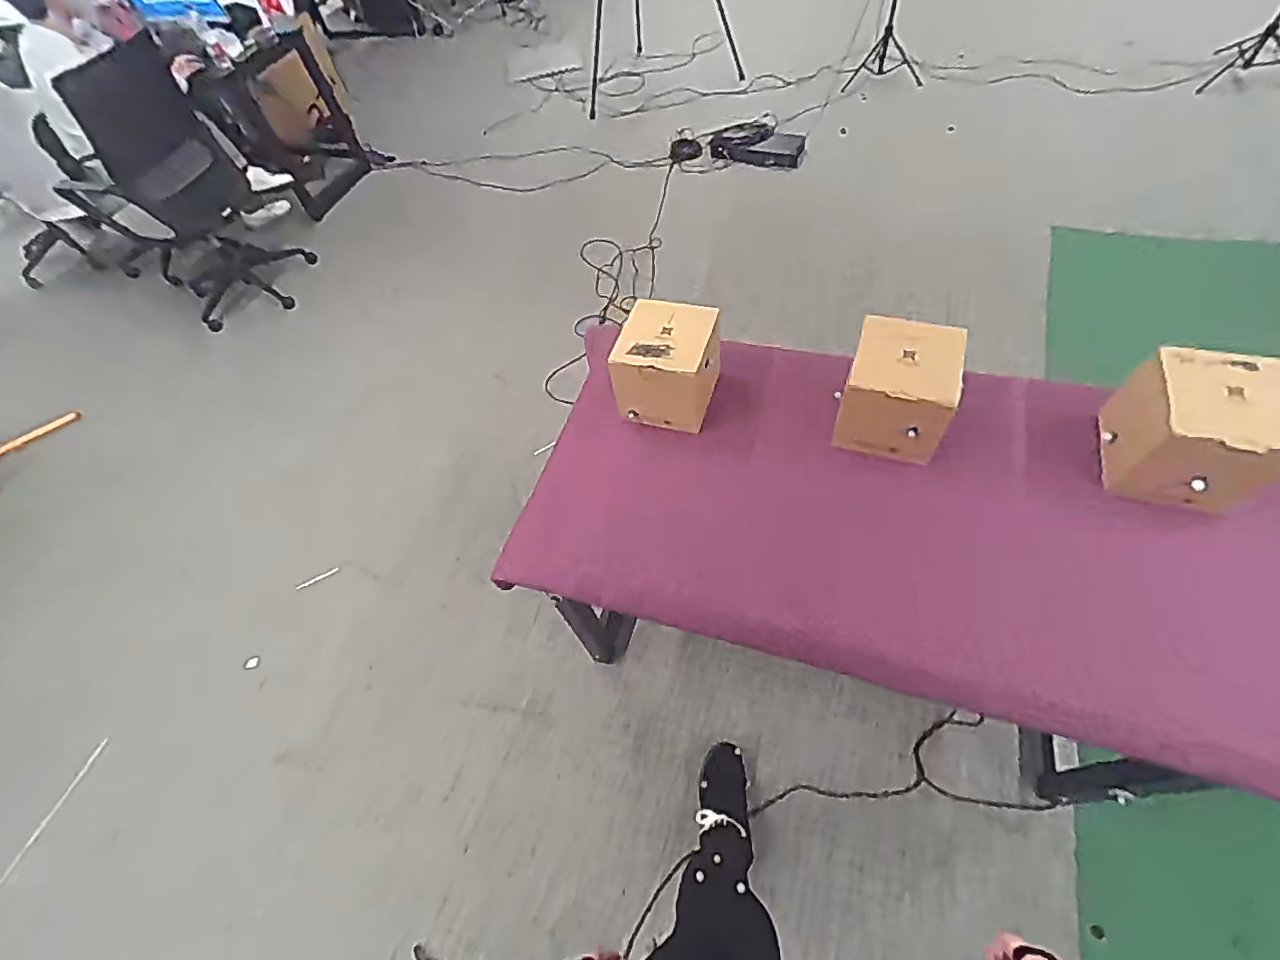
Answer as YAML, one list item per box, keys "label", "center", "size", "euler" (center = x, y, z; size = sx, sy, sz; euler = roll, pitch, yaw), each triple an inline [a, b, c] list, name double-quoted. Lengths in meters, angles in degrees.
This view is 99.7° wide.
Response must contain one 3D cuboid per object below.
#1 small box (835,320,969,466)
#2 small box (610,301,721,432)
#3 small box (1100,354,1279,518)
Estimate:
- label: "small box"
  center: [0.453, -0.149, 0.955]
  size: [0.168, 0.176, 0.179]
  euler: [16, 60, 17]
- label: "small box"
  center: [0.058, -0.217, 1.054]
  size: [0.168, 0.176, 0.179]
  euler: [13, 59, 16]
- label: "small box"
  center: [0.853, -0.063, 0.836]
  size: [0.168, 0.176, 0.179]
  euler: [14, 62, 17]
